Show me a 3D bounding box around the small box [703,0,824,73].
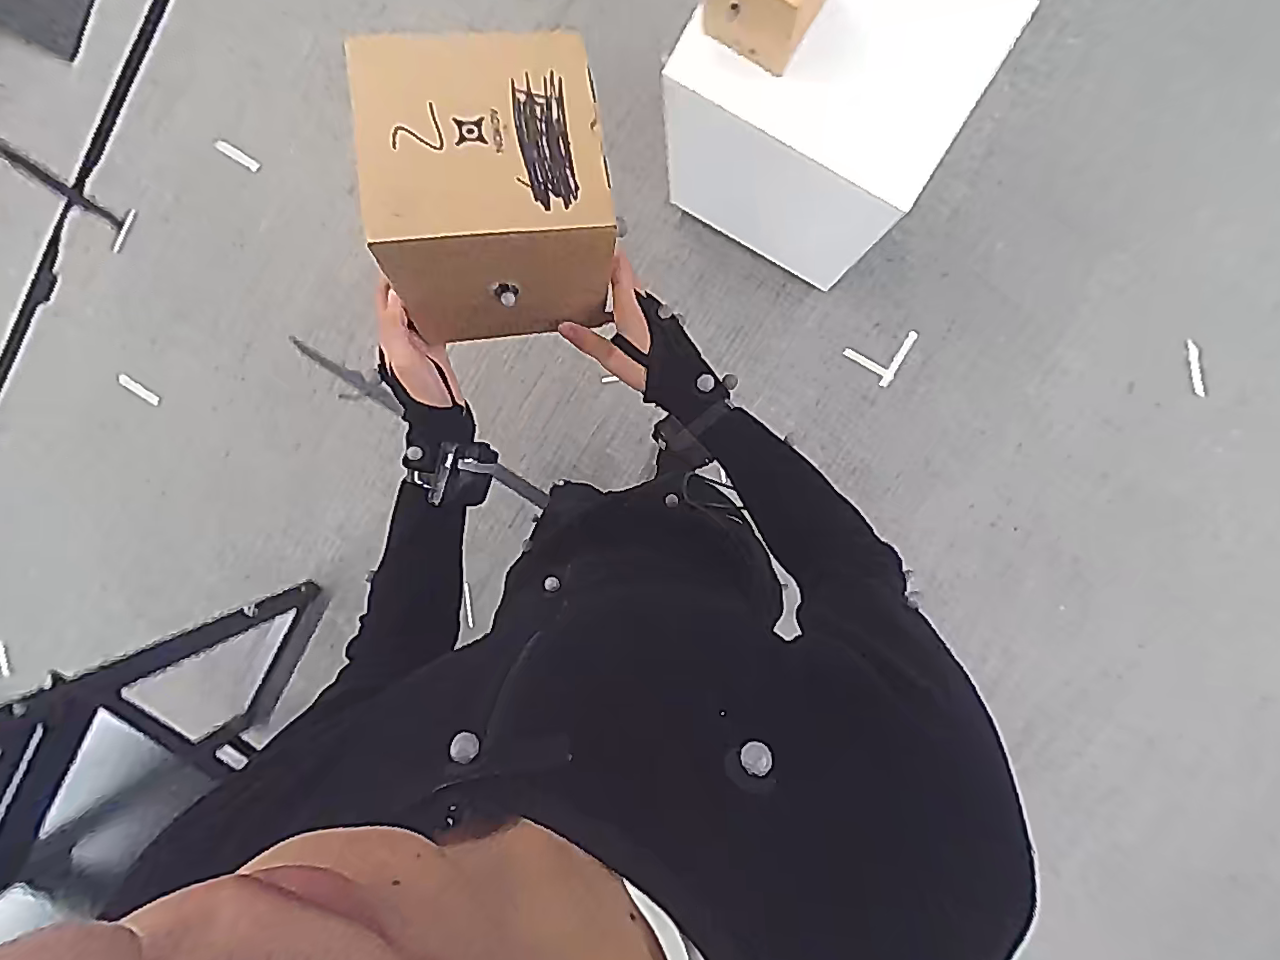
[{"bbox_3d":[0.212,-0.816,0.869,0.168,0.176,0.179,32,96,1],"label":"small box"}]
